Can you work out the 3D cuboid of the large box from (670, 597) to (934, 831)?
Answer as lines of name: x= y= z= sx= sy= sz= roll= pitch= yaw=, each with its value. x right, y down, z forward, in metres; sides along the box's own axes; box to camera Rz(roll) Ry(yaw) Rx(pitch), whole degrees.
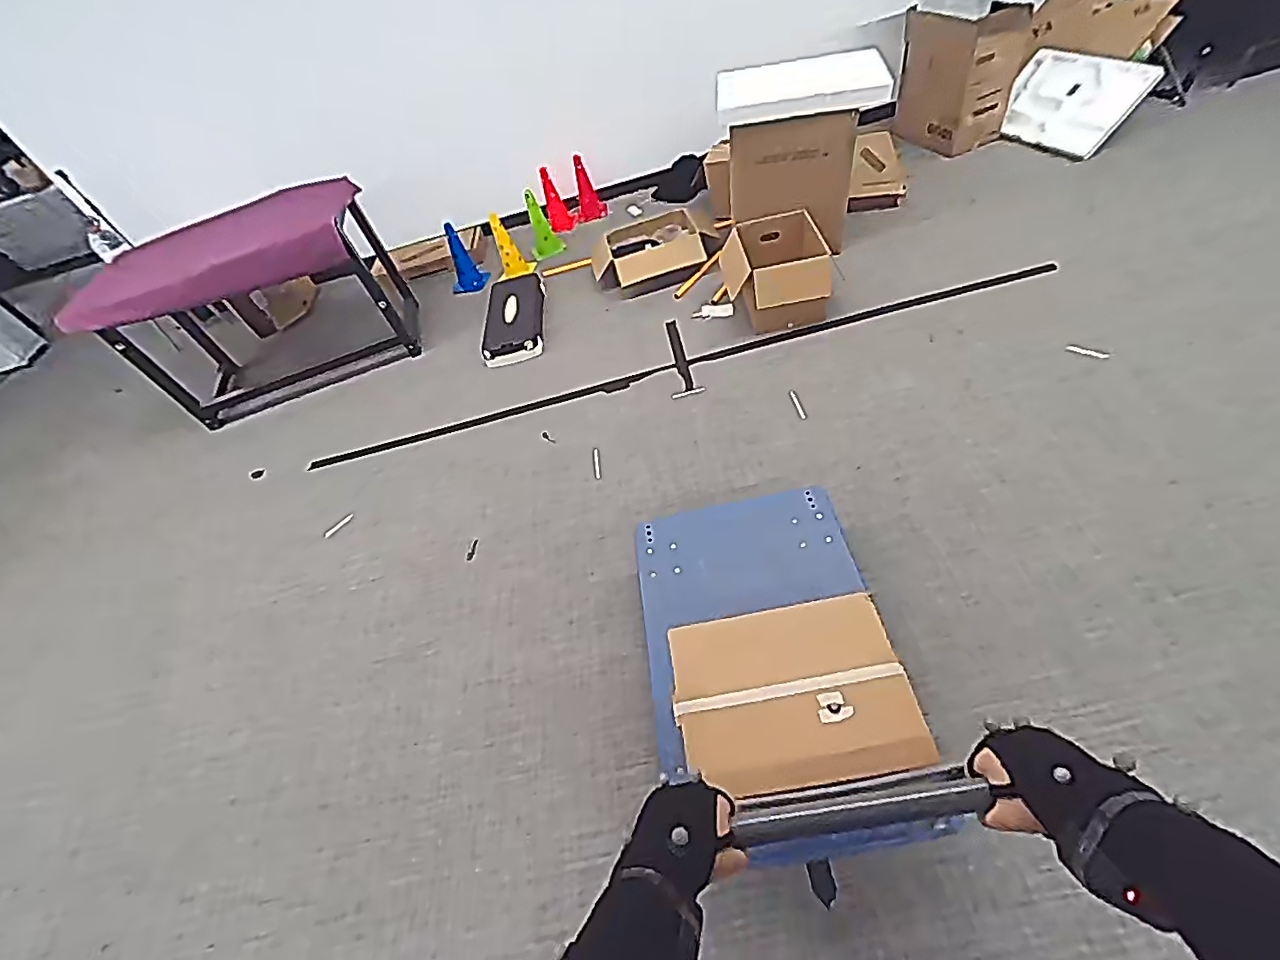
large box: x=0.297 y=0.482 z=1.099 sx=0.408 sy=0.320 sz=0.320 roll=-12 pitch=50 yaw=4
